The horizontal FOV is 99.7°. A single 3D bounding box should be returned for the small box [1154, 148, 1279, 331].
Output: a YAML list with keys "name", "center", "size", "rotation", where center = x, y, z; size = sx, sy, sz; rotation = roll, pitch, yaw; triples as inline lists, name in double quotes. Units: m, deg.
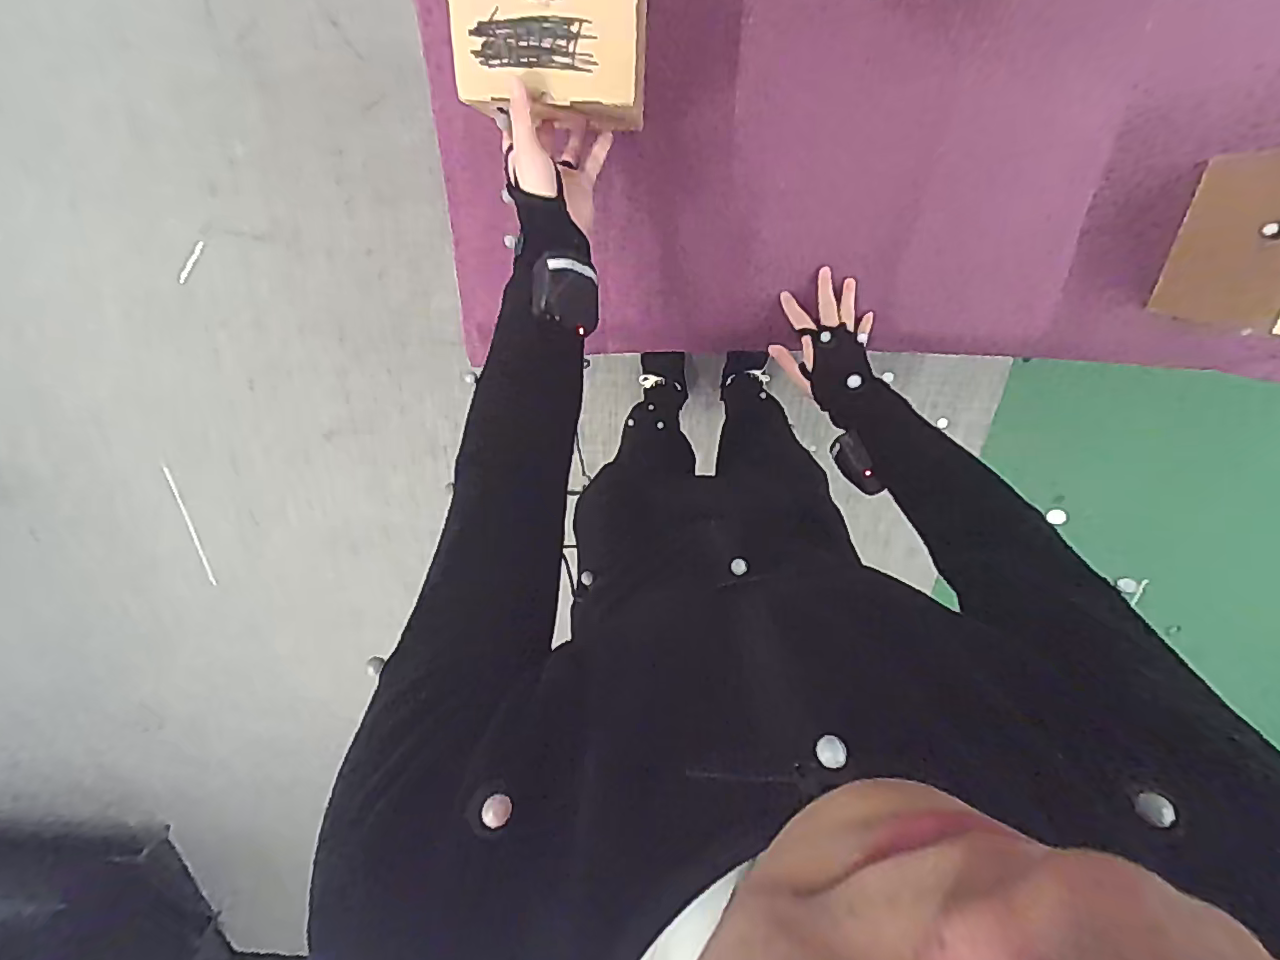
- name: "small box"
  center: [0.733, -0.260, 0.589]
  size: [0.168, 0.176, 0.179]
  rotation: [4, 116, 2]
